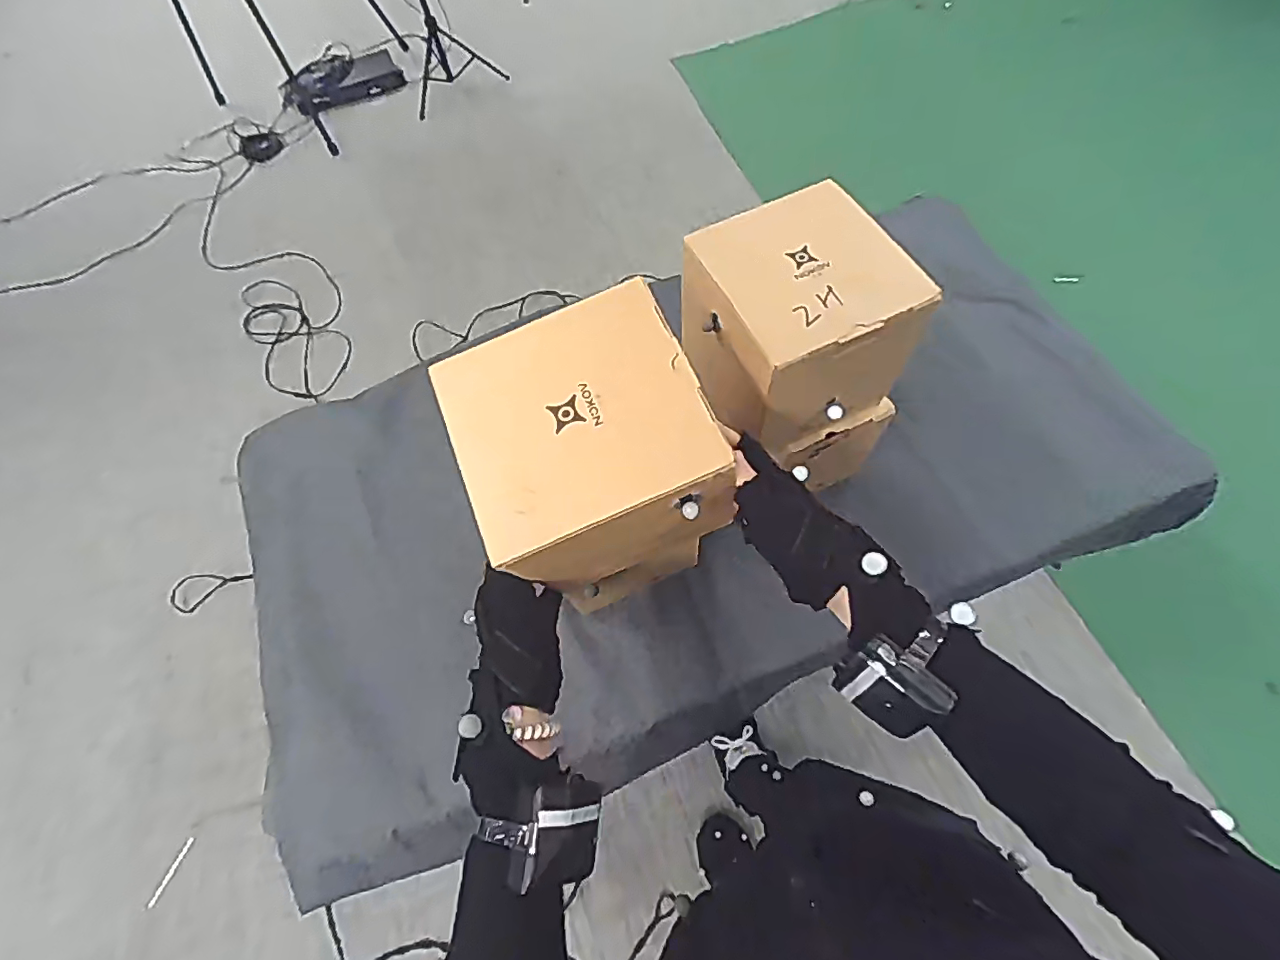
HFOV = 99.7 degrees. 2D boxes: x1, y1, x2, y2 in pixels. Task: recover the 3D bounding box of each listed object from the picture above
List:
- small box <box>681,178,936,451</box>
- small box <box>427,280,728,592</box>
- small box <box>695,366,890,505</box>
[{"bbox_3d":[0.151,-0.160,0.558,0.168,0.176,0.179,-25,66,-5],"label":"small box"},{"bbox_3d":[-0.039,-0.020,0.447,0.179,0.176,0.168,-24,70,-1],"label":"small box"},{"bbox_3d":[0.182,-0.085,0.700,0.168,0.176,0.179,-23,65,-6],"label":"small box"}]
